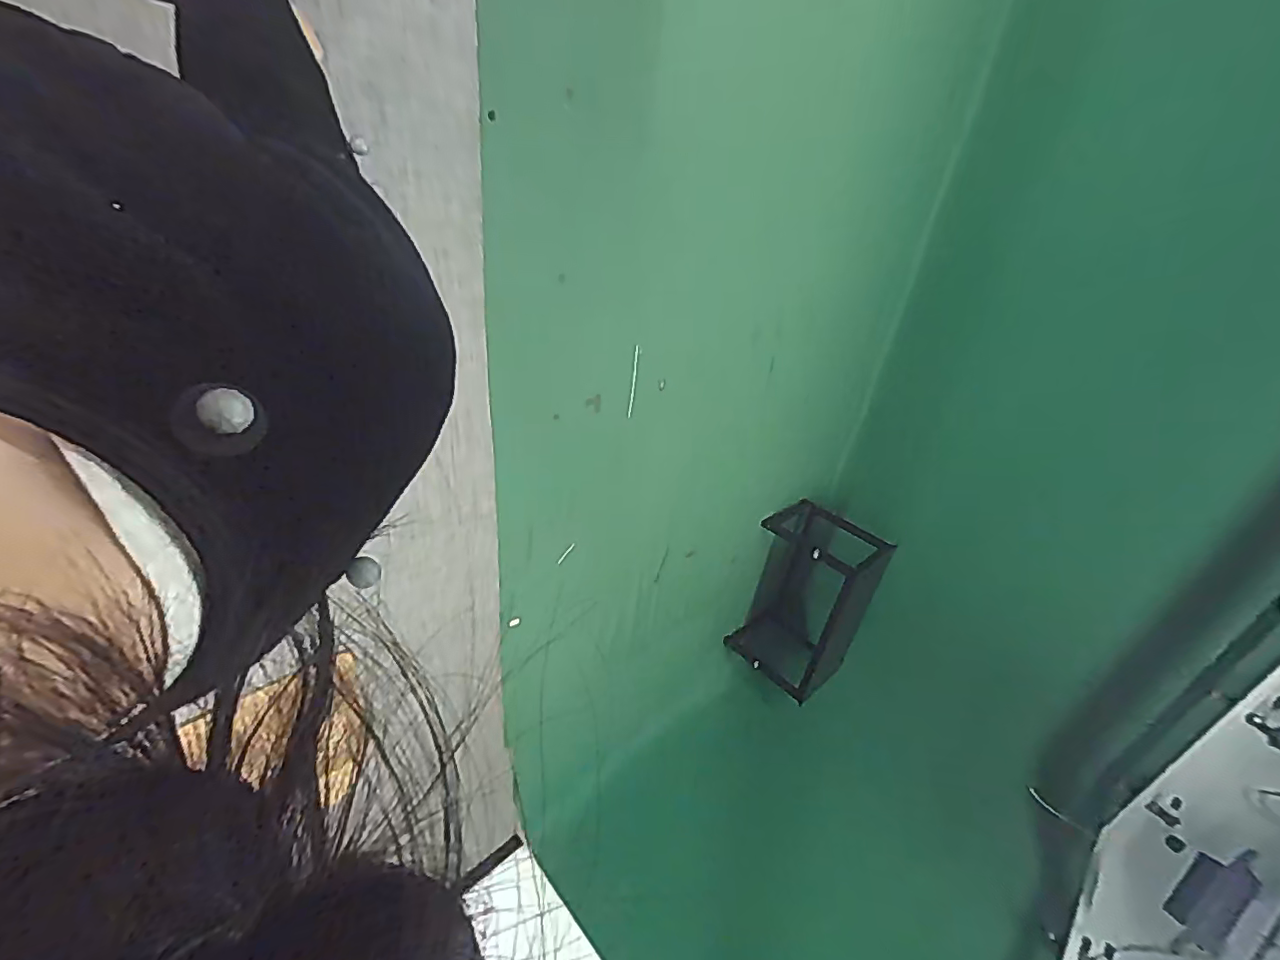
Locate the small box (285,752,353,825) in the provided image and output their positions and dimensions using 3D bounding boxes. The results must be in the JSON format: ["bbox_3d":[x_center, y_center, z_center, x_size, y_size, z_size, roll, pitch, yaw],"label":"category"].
[{"bbox_3d":[-1.122,1.033,1.873,0.168,0.176,0.179,-20,131,-40],"label":"small box"}]

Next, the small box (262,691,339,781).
[{"bbox_3d":[-1.090,0.808,1.737,0.168,0.176,0.179,-16,128,-42],"label":"small box"}]
